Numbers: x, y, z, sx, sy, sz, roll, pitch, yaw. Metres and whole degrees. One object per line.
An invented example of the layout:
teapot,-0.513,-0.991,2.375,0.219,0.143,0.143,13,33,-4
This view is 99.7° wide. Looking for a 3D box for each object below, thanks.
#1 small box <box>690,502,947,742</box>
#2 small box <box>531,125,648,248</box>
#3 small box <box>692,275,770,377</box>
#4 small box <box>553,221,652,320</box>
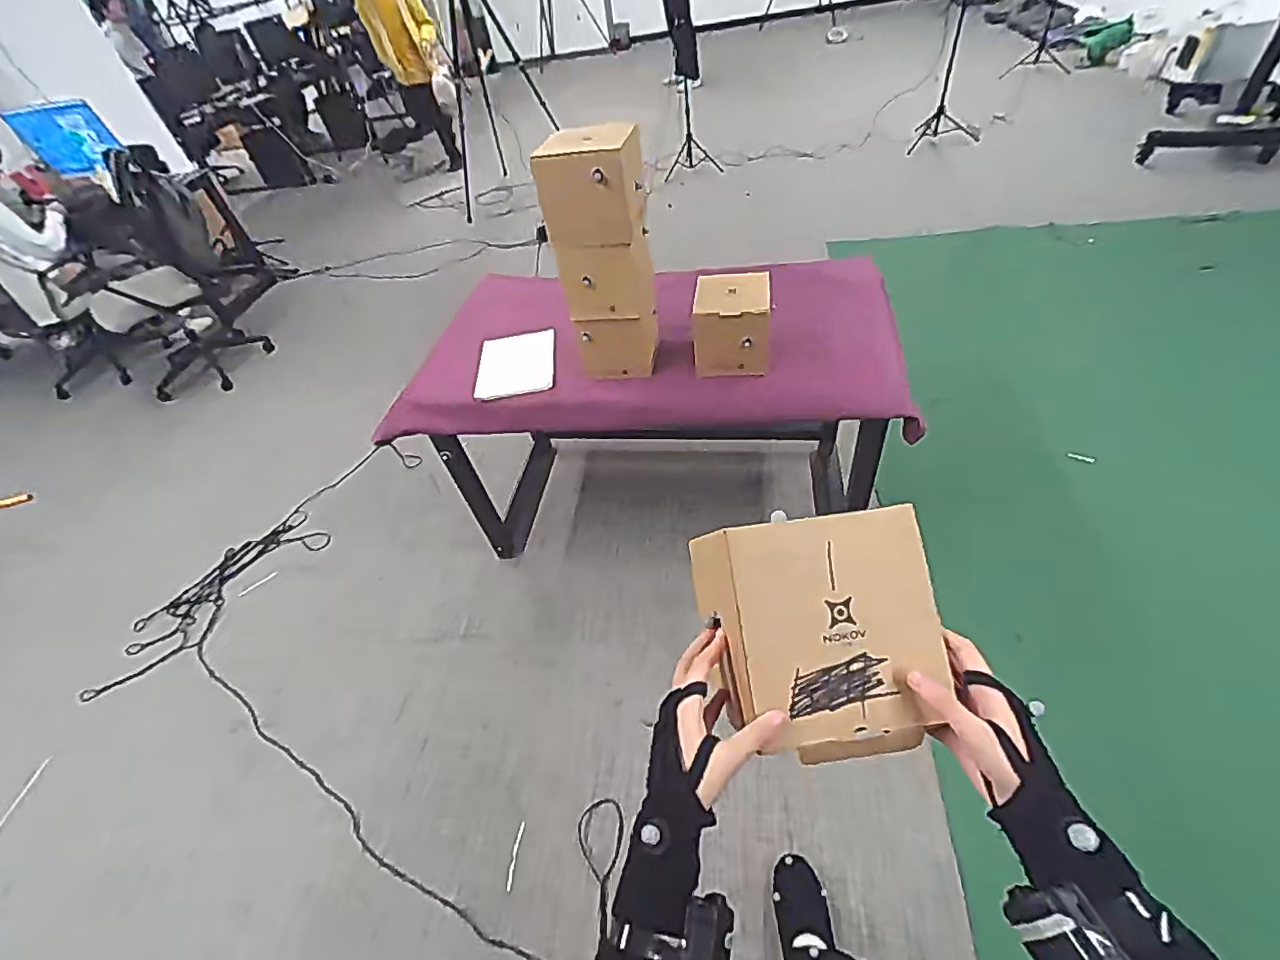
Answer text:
small box,0.149,0.124,0.515,0.168,0.176,0.179,-6,80,-6
small box,-0.088,-0.575,1.069,0.179,0.176,0.168,3,46,14
small box,0.216,-0.354,1.260,0.168,0.176,0.179,2,46,11
small box,-0.073,-0.466,1.193,0.168,0.176,0.179,1,46,12
